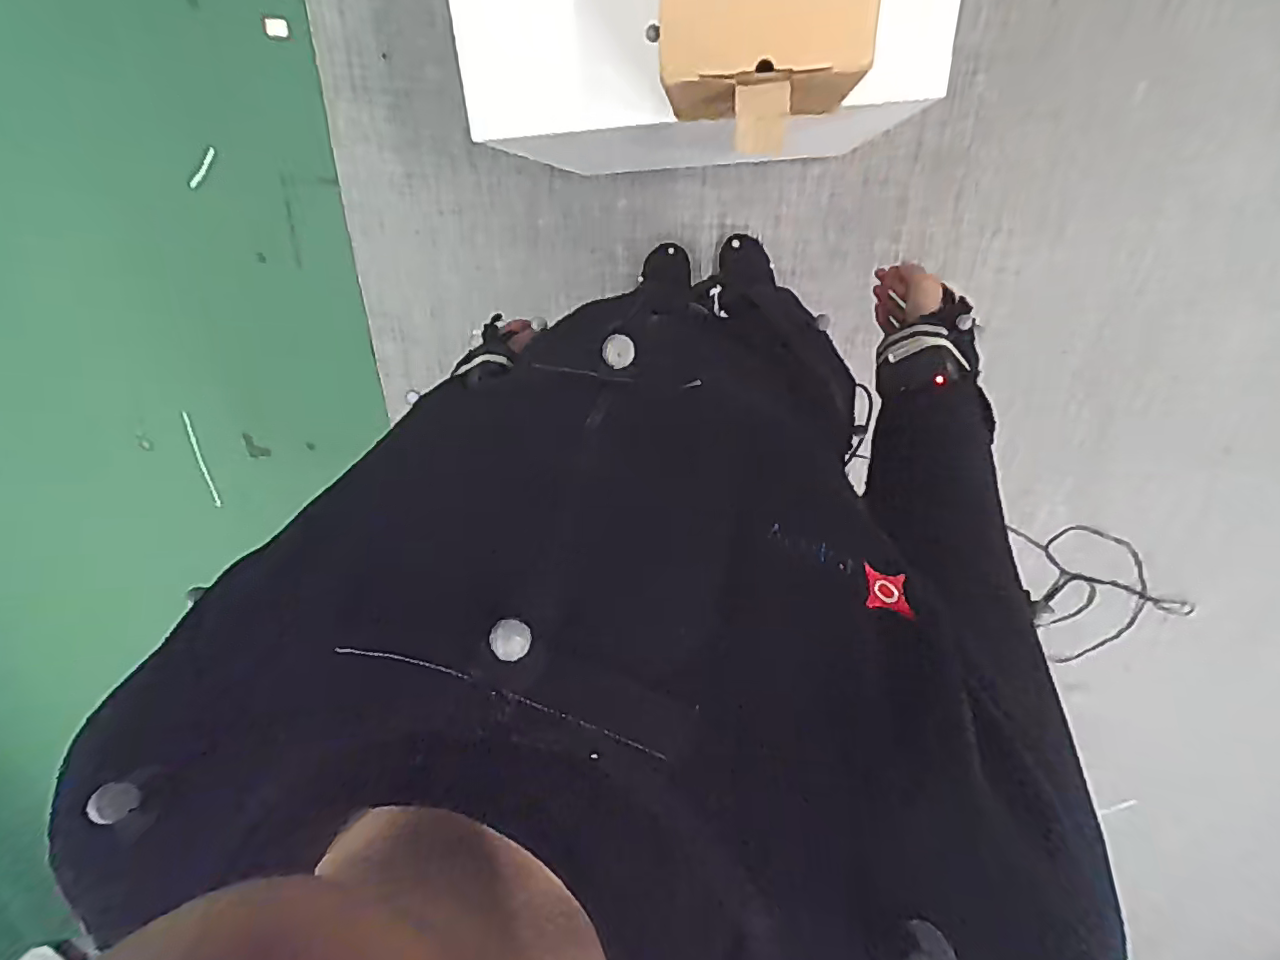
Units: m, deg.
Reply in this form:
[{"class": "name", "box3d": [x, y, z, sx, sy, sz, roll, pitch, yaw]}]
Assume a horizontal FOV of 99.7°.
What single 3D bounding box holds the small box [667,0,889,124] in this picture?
[{"class": "small box", "box3d": [0.111, -0.425, 0.461, 0.168, 0.176, 0.179, 2, 115, 8]}]
